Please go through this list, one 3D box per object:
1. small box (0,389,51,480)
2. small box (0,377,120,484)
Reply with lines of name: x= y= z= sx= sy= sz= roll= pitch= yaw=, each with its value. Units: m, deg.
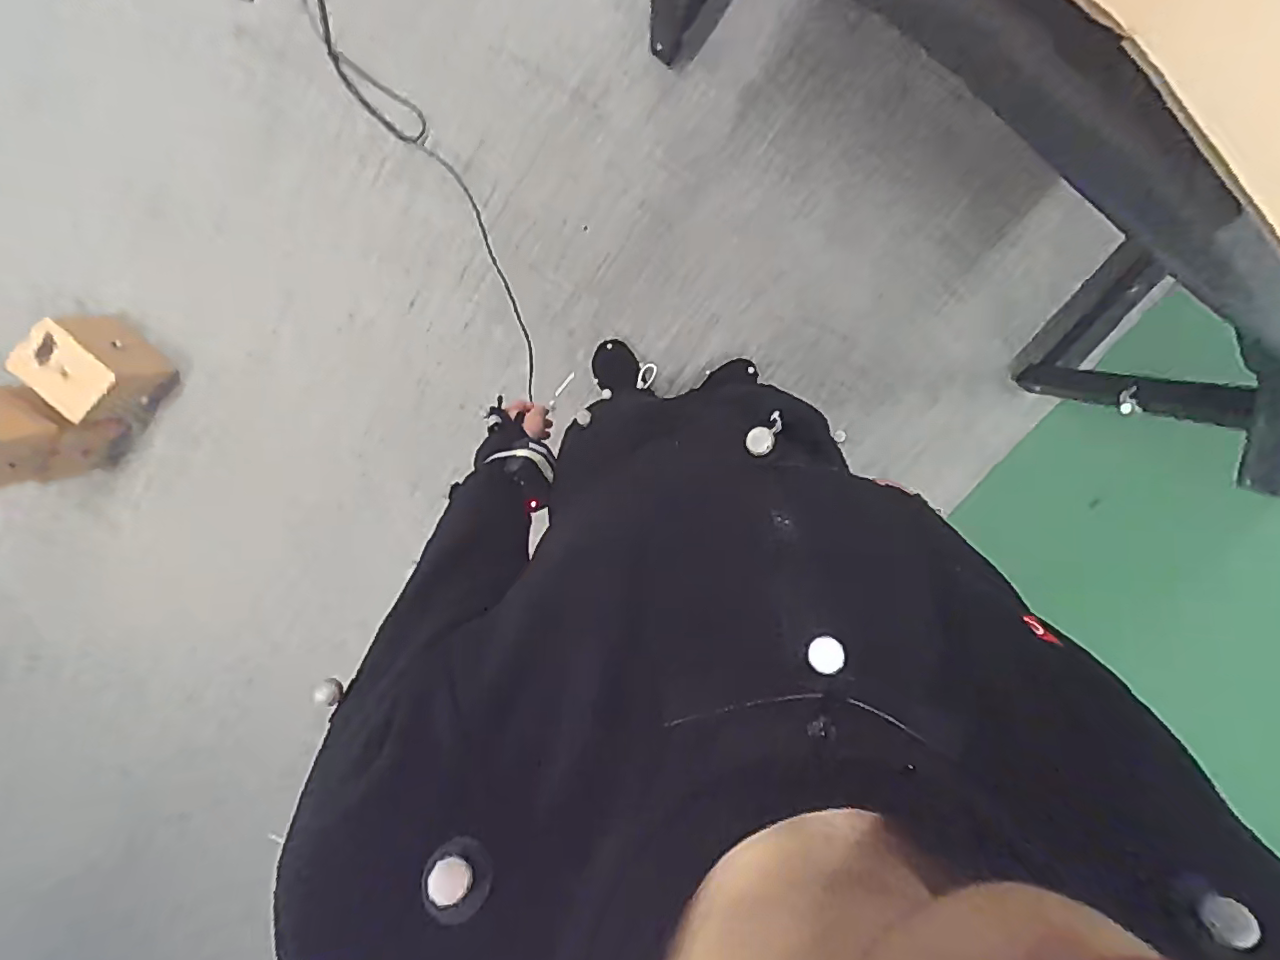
small box: x=-1.413 y=-0.095 z=1.118 sx=0.179 sy=0.176 sz=0.168 roll=40 pitch=103 yaw=-11
small box: x=-1.409 y=-0.125 z=1.279 sx=0.179 sy=0.176 sz=0.168 roll=39 pitch=103 yaw=-12
